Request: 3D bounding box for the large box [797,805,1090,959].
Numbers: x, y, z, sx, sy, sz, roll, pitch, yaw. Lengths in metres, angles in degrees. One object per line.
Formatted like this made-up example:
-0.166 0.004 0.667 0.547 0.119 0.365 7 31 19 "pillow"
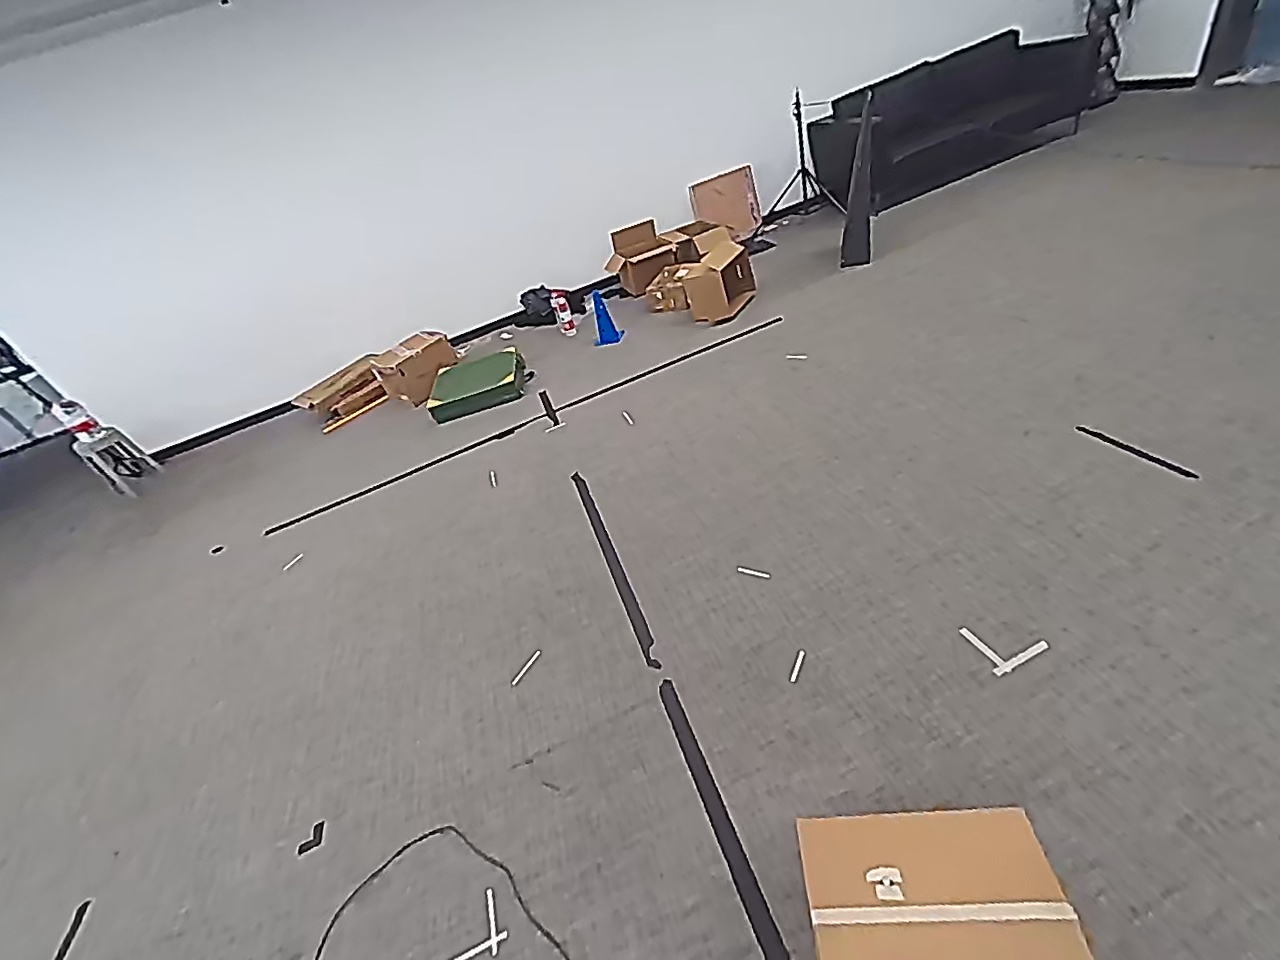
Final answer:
0.536 0.841 0.992 0.408 0.320 0.320 -12 36 12 "large box"
